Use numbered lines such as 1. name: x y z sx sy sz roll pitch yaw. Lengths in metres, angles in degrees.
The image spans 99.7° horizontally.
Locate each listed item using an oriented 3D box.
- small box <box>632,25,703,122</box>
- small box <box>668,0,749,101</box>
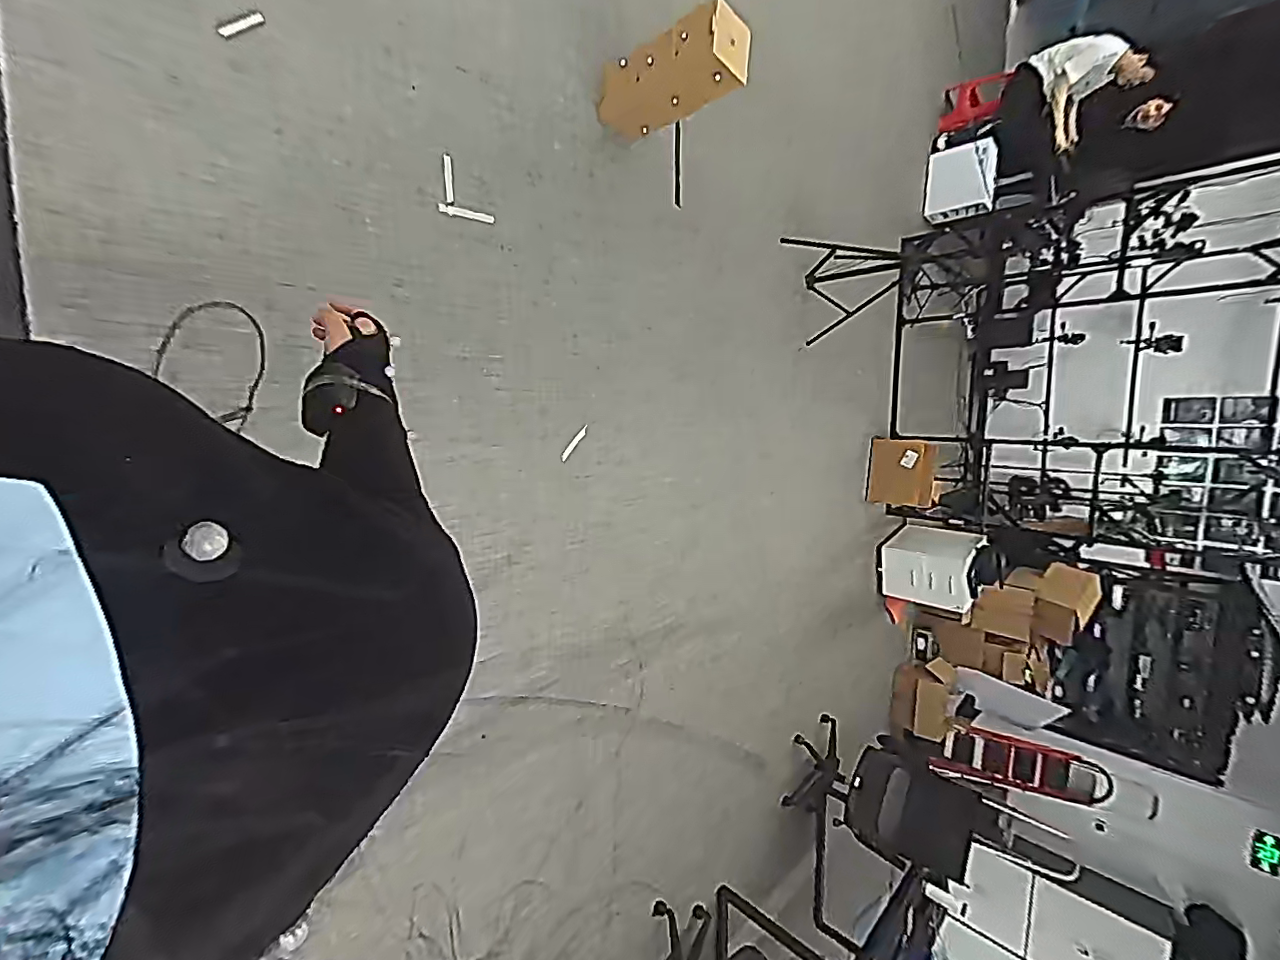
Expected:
1. small box: 0.093 -1.319 1.772 0.179 0.176 0.168 3 93 -46
2. small box: 0.211 -1.310 1.660 0.179 0.176 0.168 3 93 -46
